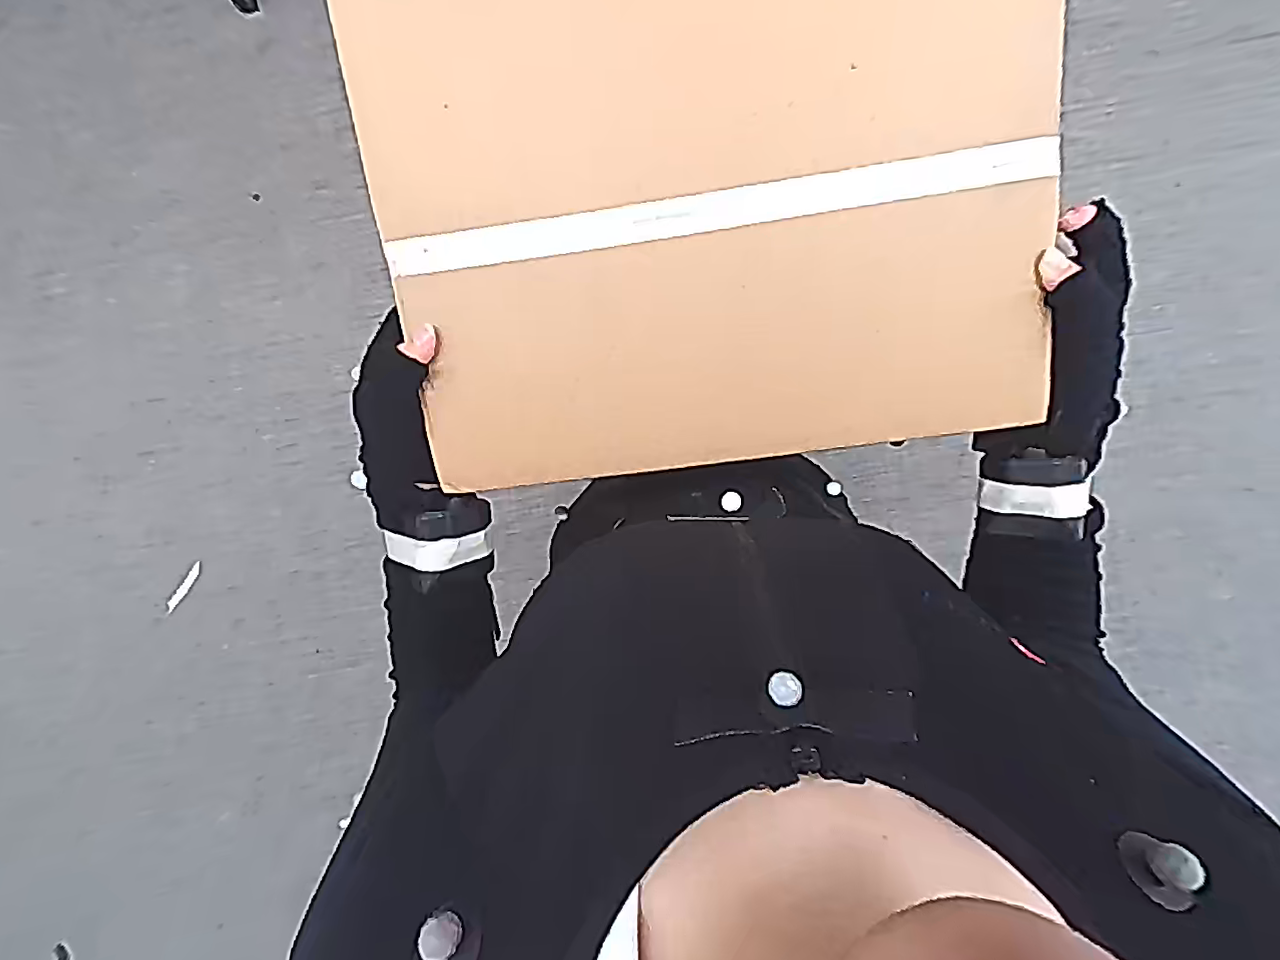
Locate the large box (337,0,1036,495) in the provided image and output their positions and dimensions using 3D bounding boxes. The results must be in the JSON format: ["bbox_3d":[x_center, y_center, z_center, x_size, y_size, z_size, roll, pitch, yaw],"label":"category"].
[{"bbox_3d":[0.044,-0.199,0.483,0.408,0.320,0.320,-7,104,4],"label":"large box"}]
